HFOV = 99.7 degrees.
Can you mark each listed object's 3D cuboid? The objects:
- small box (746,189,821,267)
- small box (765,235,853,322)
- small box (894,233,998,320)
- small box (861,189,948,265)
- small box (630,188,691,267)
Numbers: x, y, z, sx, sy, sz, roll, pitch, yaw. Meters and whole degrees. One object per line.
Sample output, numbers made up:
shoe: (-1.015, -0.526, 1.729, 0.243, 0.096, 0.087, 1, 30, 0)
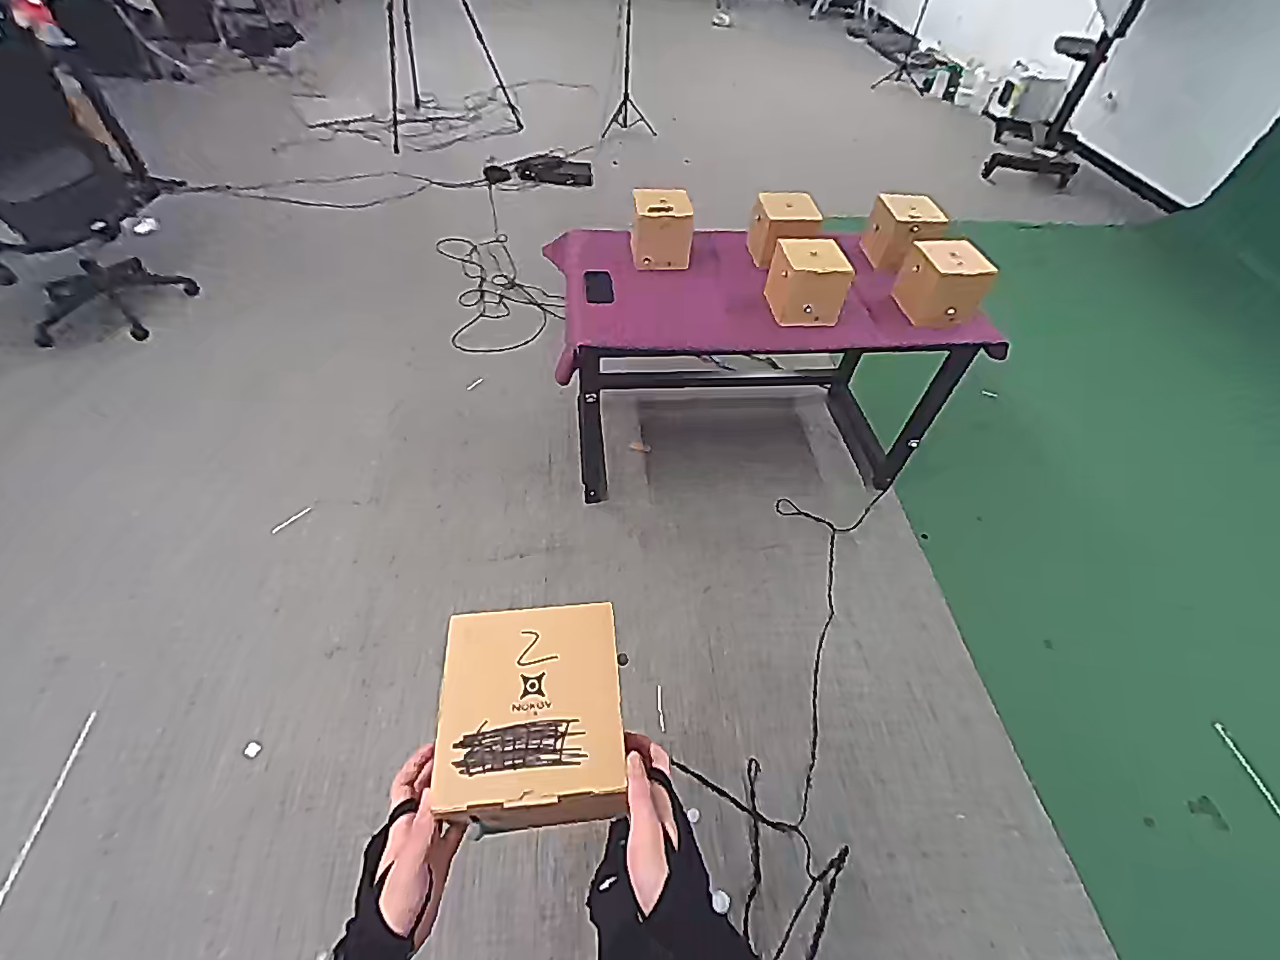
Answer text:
small box: (0.440, -0.785, 1.688, 0.168, 0.176, 0.179, -3, 51, -4)
small box: (0.460, -0.559, 1.503, 0.168, 0.176, 0.179, -3, 51, -6)
small box: (0.851, -0.575, 1.529, 0.168, 0.176, 0.179, -5, 52, -4)
small box: (0.829, -0.802, 1.718, 0.168, 0.176, 0.179, -2, 51, -4)
small box: (0.058, -0.768, 1.651, 0.168, 0.176, 0.179, -3, 51, -6)
